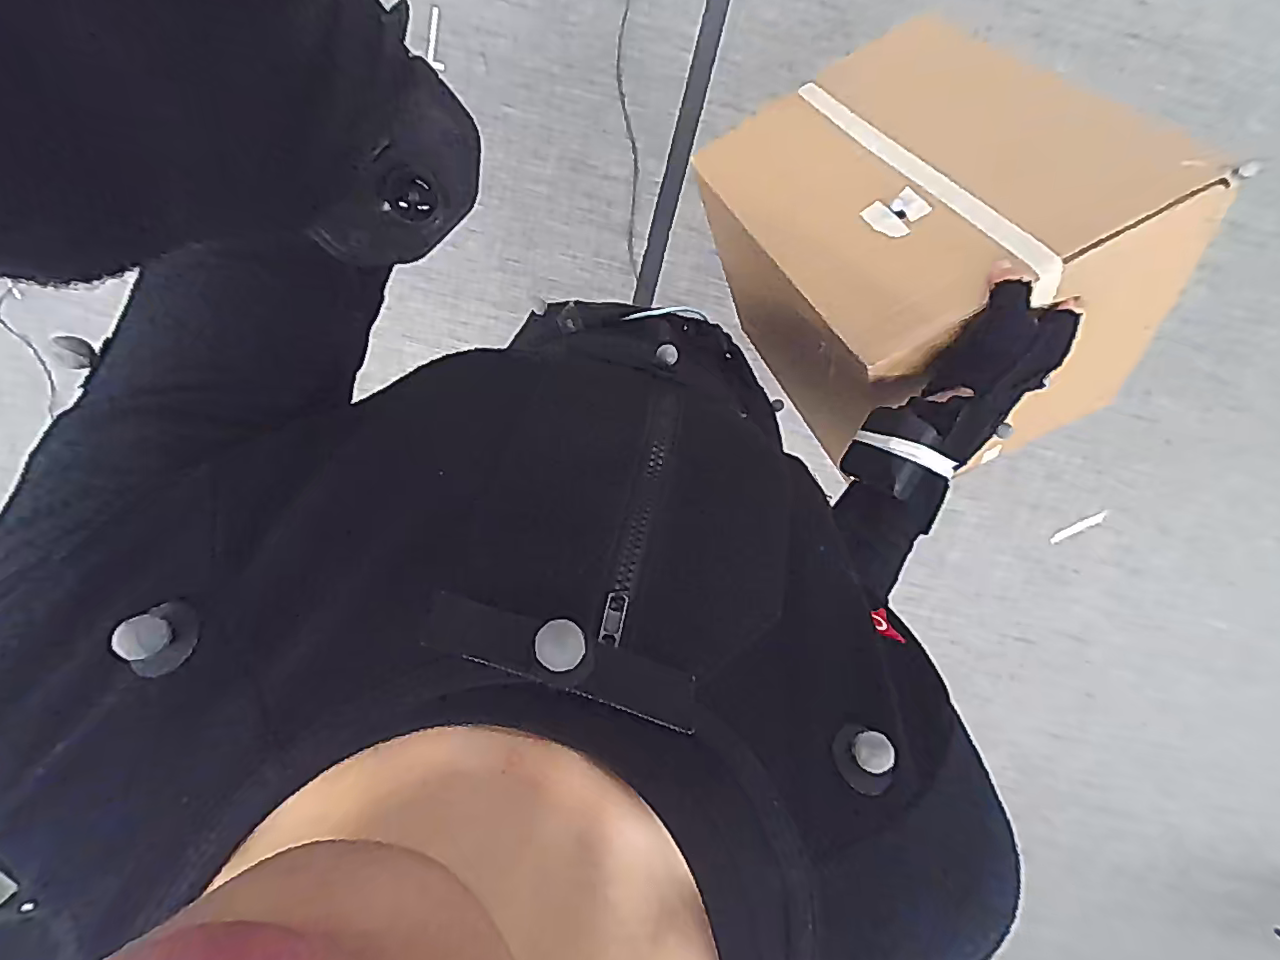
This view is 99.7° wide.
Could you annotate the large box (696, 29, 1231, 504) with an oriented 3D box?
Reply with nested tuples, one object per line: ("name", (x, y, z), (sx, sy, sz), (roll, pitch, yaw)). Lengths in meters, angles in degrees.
("large box", (0.317, -0.249, 0.671), (0.320, 0.408, 0.320), (-28, 146, 8))
